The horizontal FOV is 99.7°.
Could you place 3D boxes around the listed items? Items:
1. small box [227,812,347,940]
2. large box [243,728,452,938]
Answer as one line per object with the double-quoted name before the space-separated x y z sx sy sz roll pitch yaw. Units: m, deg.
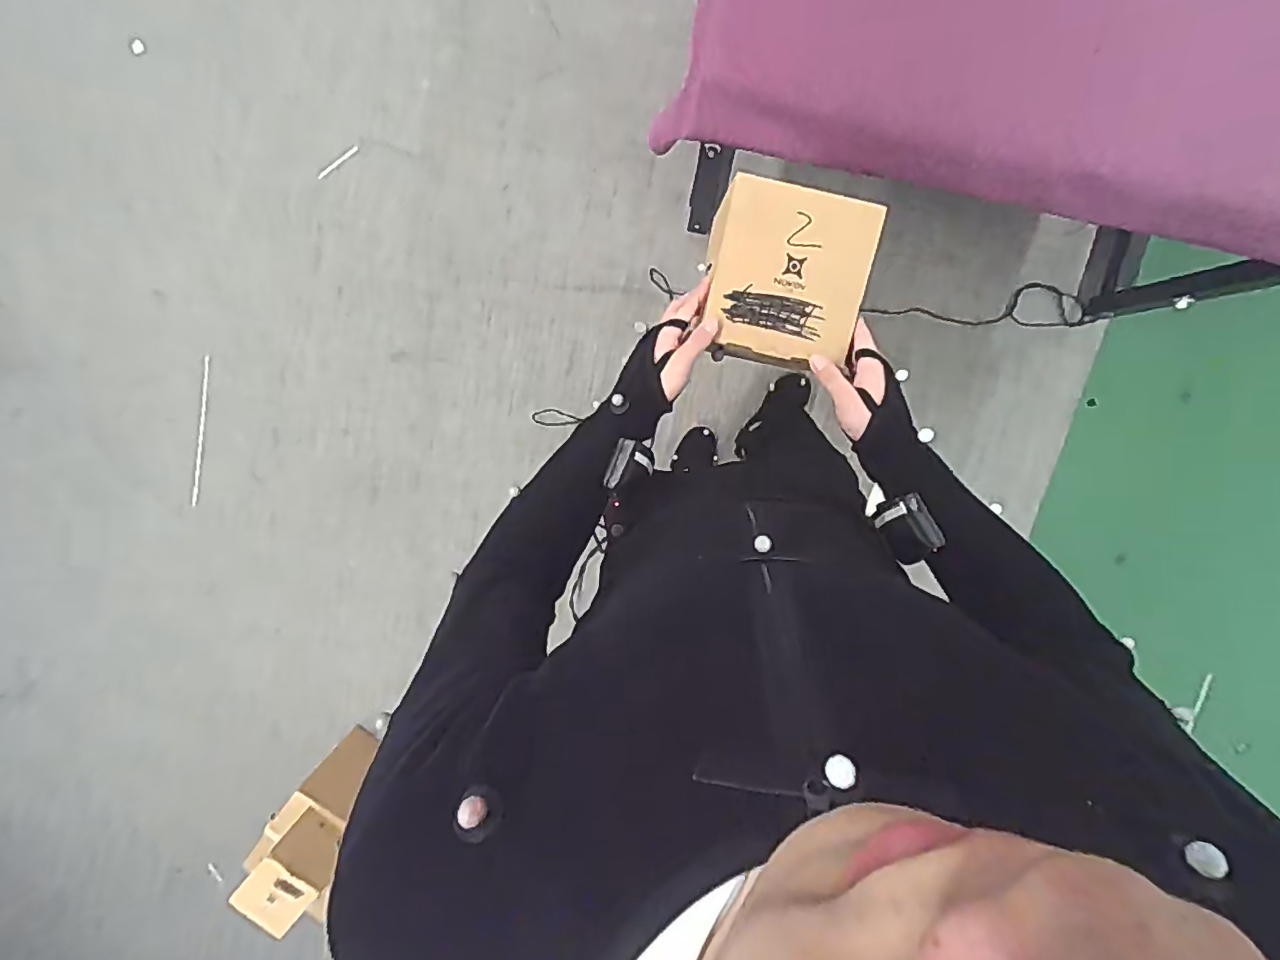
"small box" -0.907 1.024 1.415 0.168 0.176 0.179 41 97 -4
"large box" -0.874 1.064 1.669 0.408 0.320 0.320 37 99 -4
